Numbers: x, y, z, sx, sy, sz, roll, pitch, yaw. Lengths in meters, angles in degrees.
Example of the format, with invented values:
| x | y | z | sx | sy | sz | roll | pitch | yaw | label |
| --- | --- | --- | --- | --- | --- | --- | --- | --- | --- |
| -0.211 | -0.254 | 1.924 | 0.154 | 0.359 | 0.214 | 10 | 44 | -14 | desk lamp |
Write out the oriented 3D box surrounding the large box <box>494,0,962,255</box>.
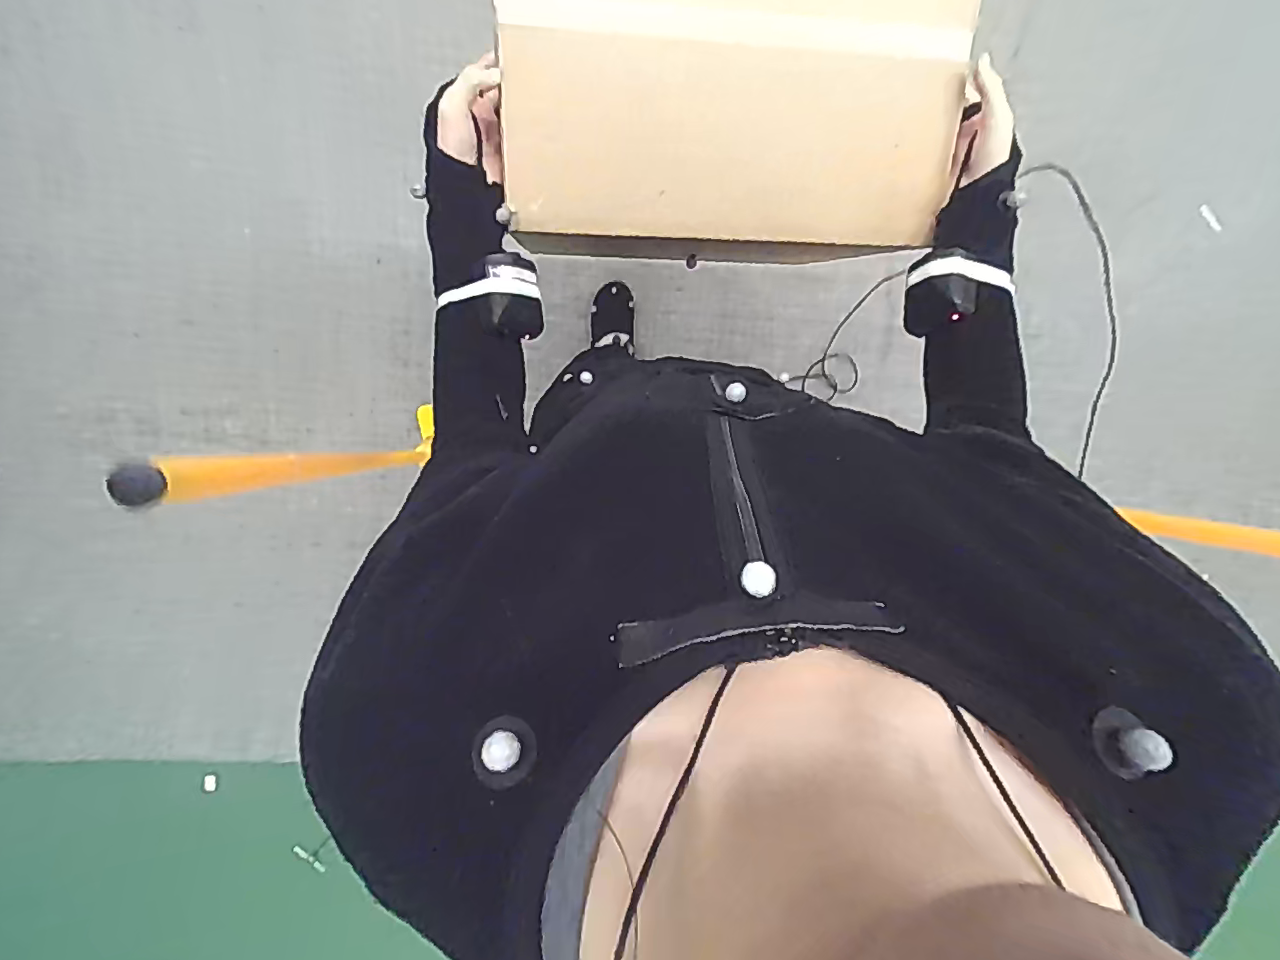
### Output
| x | y | z | sx | sy | sz | roll | pitch | yaw | label |
| --- | --- | --- | --- | --- | --- | --- | --- | --- | --- |
| 0.065 | -0.422 | 0.597 | 0.408 | 0.320 | 0.320 | -1 | 108 | -7 | large box |
